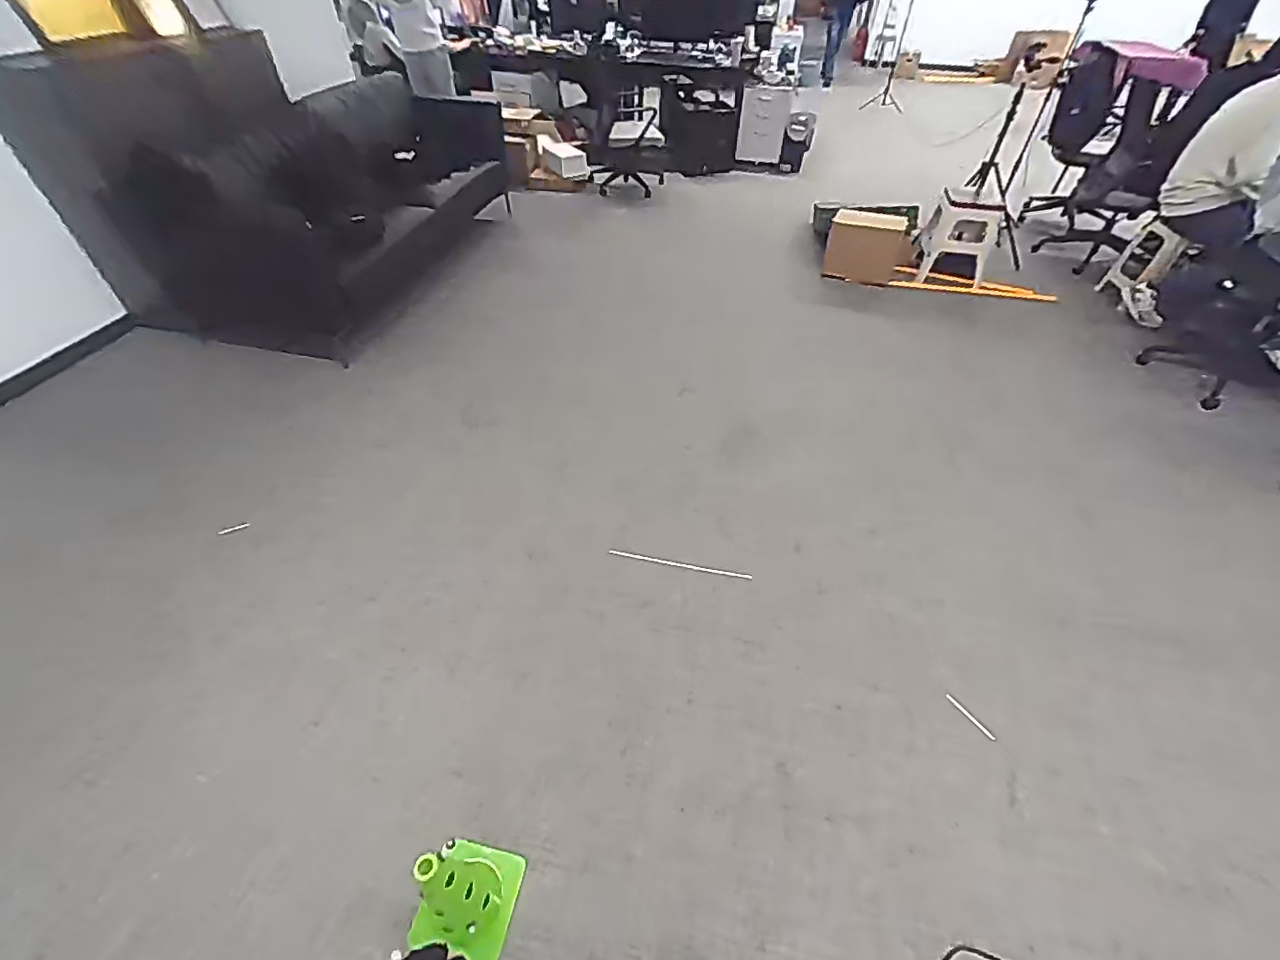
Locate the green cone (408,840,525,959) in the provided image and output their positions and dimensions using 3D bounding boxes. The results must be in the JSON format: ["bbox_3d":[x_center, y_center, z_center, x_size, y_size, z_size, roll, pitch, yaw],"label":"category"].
[{"bbox_3d":[-0.366,0.794,1.046,0.202,0.368,0.200,10,46,7],"label":"green cone"}]
